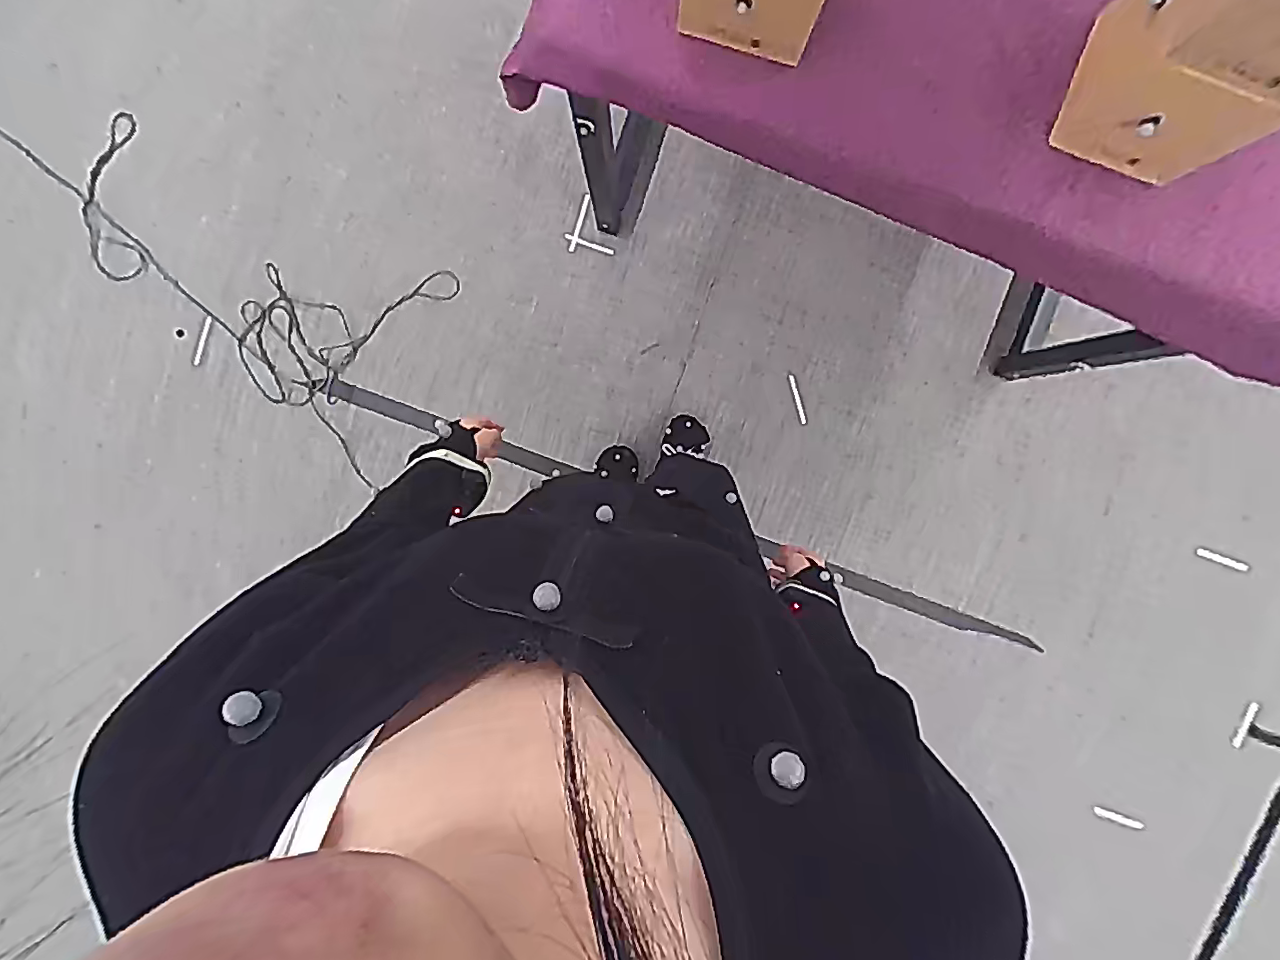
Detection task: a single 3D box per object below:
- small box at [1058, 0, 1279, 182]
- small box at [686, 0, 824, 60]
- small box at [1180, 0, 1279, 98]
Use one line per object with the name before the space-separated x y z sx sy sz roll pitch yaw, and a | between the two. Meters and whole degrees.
small box | 0.652 -0.493 0.641 0.168 0.176 0.179 20 94 -1
small box | 0.155 -0.644 0.626 0.168 0.176 0.179 16 94 -2
small box | 0.653 -0.484 0.477 0.168 0.176 0.179 21 95 -1
